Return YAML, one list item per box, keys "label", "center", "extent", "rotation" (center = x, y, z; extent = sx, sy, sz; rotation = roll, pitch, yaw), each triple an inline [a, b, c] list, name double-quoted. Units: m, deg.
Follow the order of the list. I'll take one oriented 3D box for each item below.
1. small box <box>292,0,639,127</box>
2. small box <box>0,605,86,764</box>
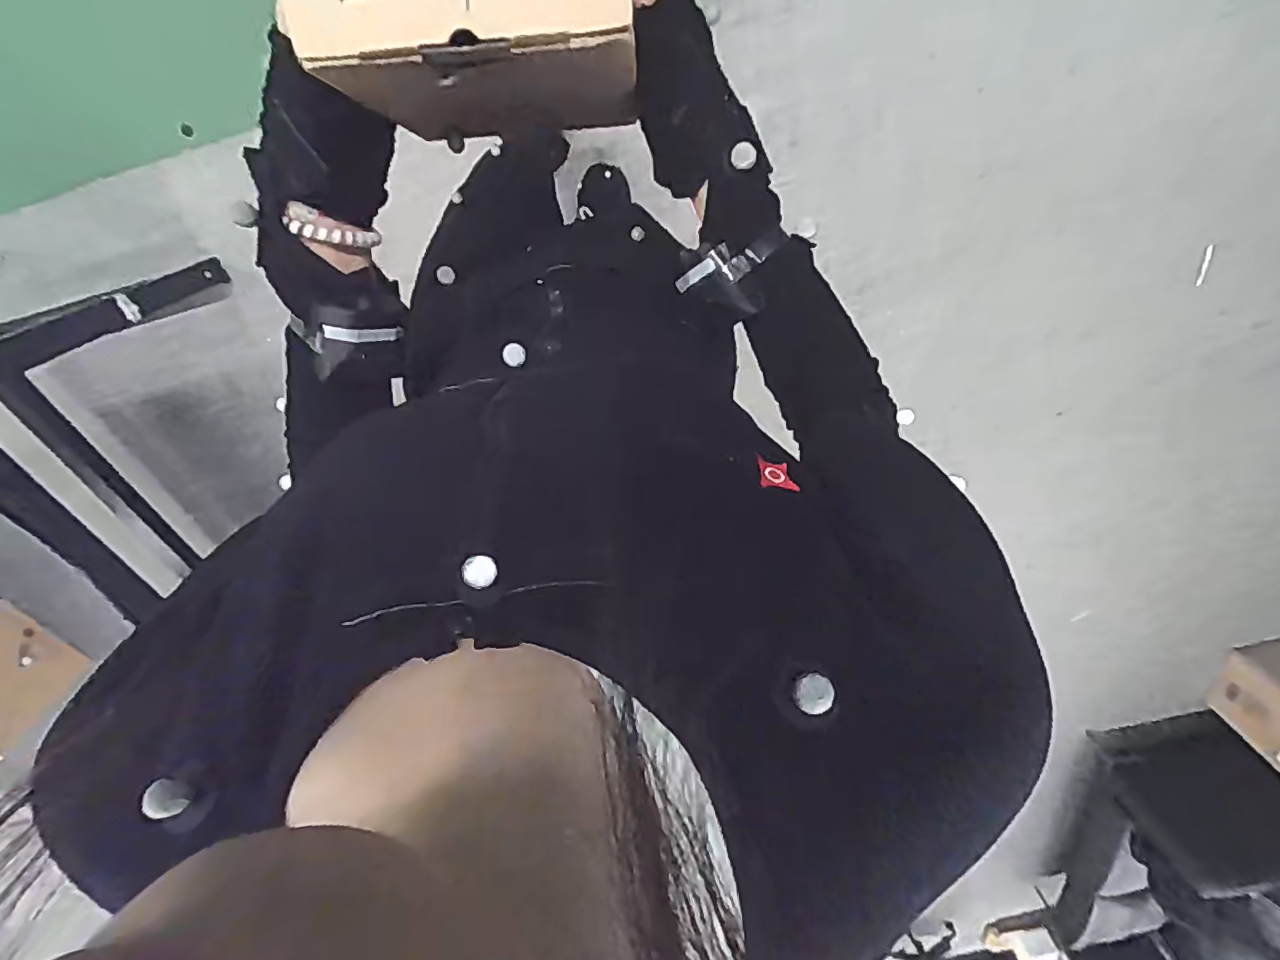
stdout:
- label: "small box"
  center: [-0.086, -0.317, 0.304]
  extent: [0.168, 0.176, 0.179]
  rotation: [-4, 111, 0]
- label: "small box"
  center: [-1.015, 0.315, 0.803]
  extent: [0.179, 0.176, 0.168]
  rotation: [-15, 125, 5]
